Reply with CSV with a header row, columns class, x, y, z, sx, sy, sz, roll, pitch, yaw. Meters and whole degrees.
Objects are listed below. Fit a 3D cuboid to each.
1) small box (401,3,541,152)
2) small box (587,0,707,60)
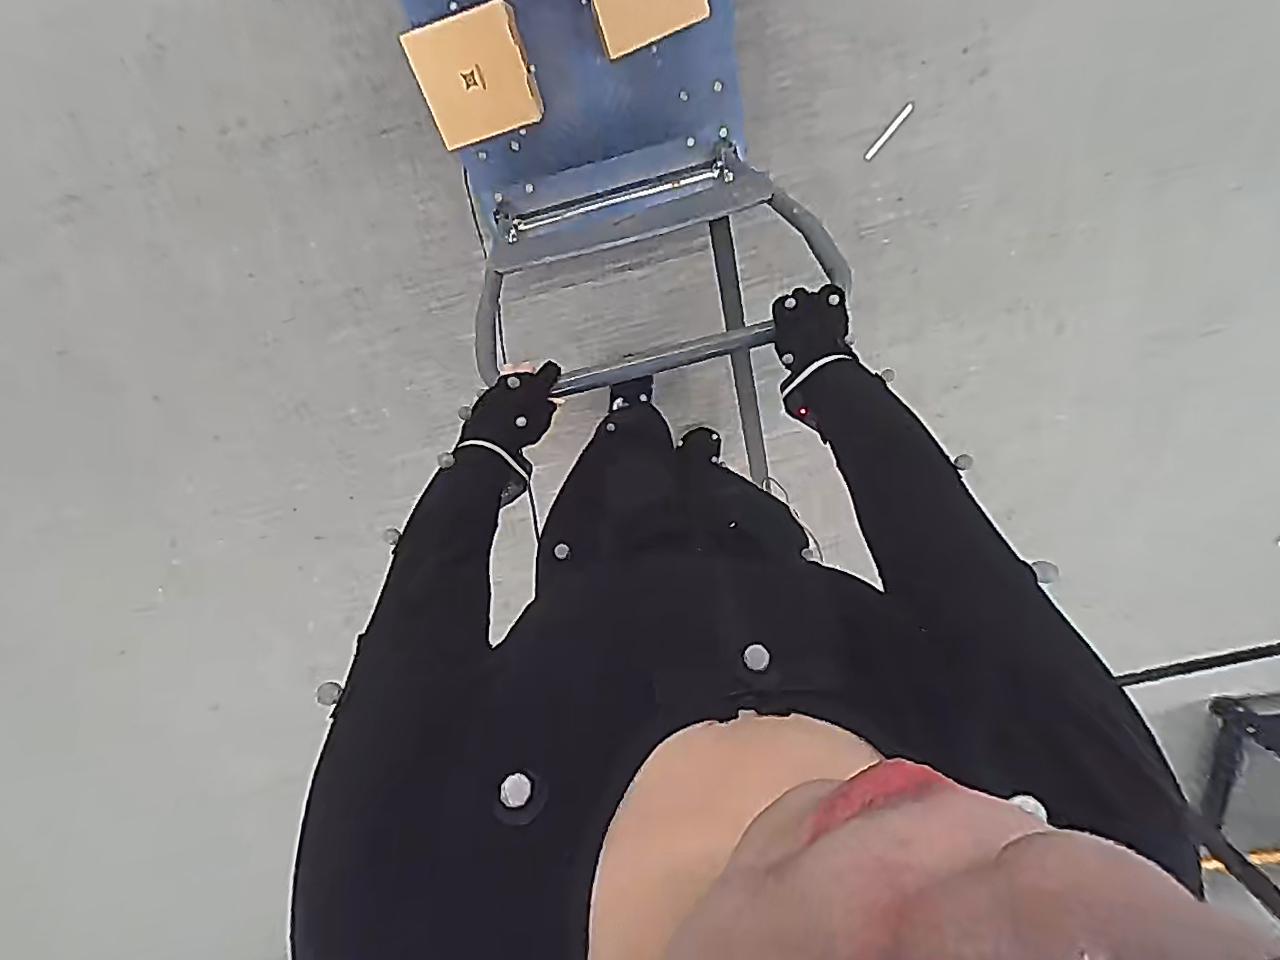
class,x,y,z,sx,sy,sz,roll,pitch,yaw
small box,-0.285,-0.706,0.959,0.179,0.176,0.168,-17,128,4
small box,-0.003,-0.828,0.900,0.179,0.176,0.168,-19,128,8
